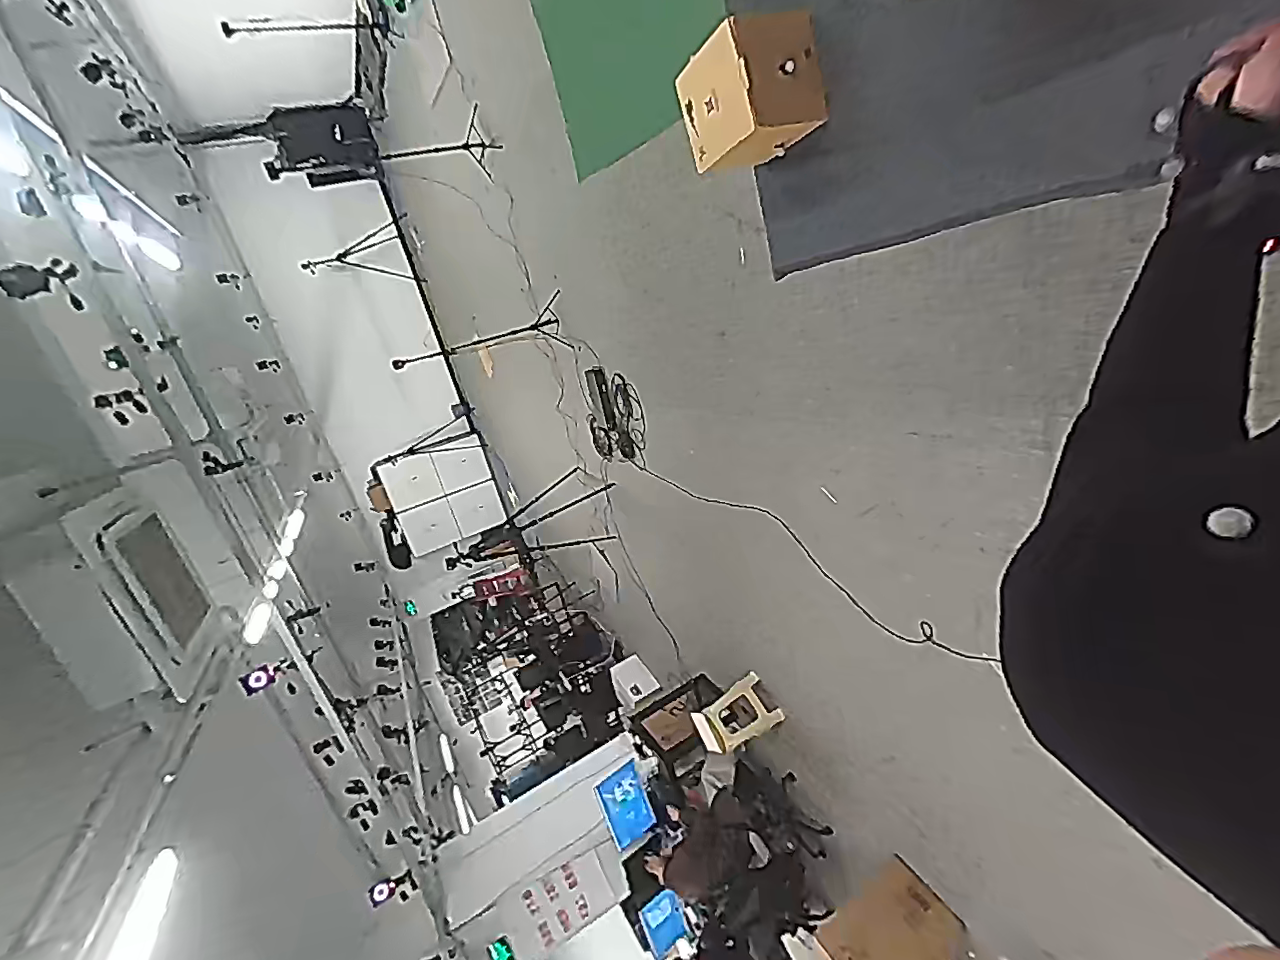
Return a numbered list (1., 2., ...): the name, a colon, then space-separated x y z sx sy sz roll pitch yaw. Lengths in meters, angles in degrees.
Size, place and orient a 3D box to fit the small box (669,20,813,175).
1. small box: 0.183 -0.672 0.955 0.179 0.176 0.168 9 119 63
